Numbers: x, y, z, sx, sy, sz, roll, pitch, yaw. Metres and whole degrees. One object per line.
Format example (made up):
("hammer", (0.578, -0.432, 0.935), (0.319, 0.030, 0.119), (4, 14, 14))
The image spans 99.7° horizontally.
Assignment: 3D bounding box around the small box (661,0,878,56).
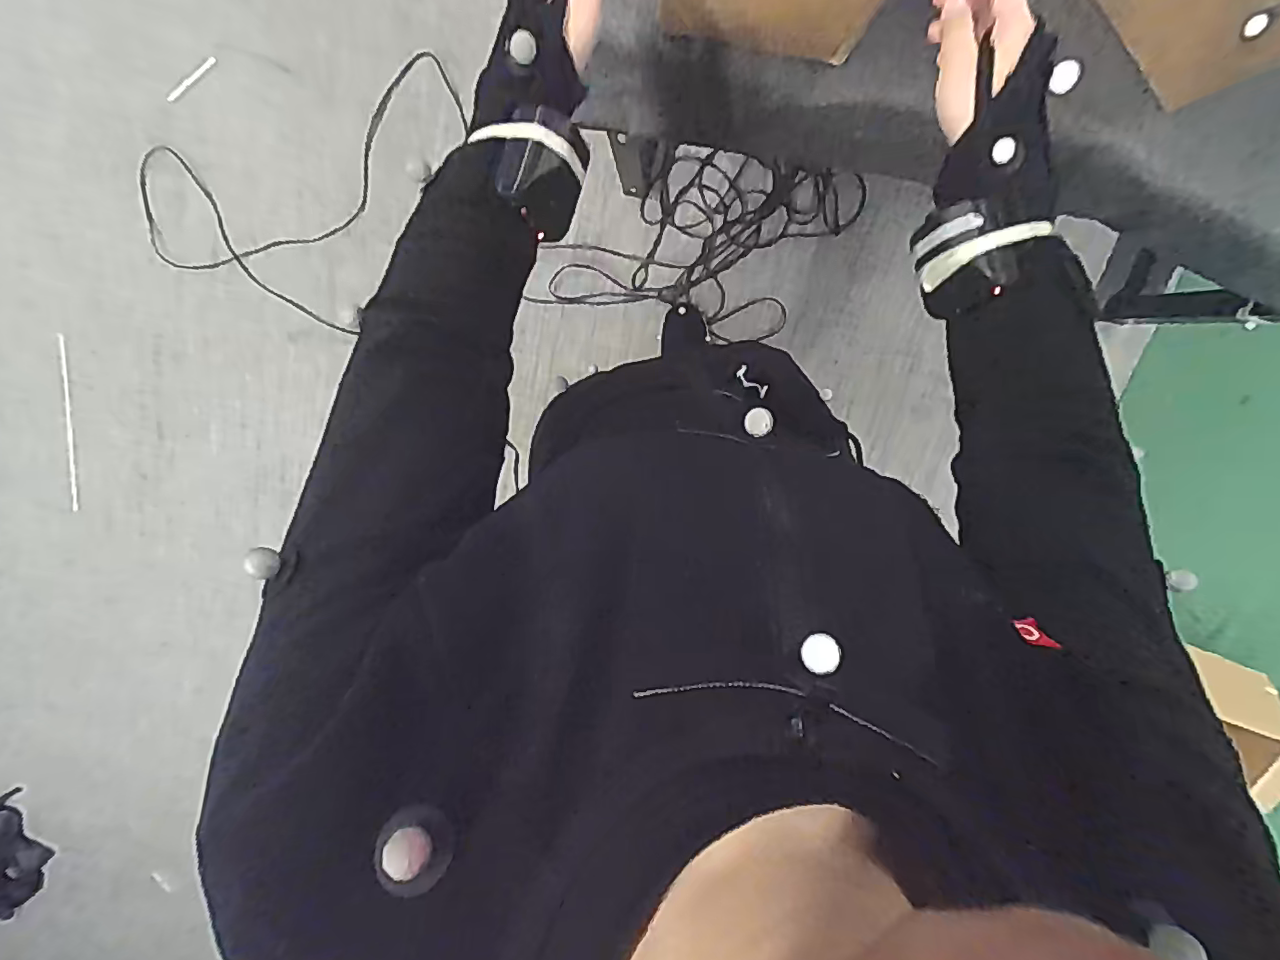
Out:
("small box", (0.114, -0.455, 0.397), (0.179, 0.176, 0.168), (10, 102, 0))
